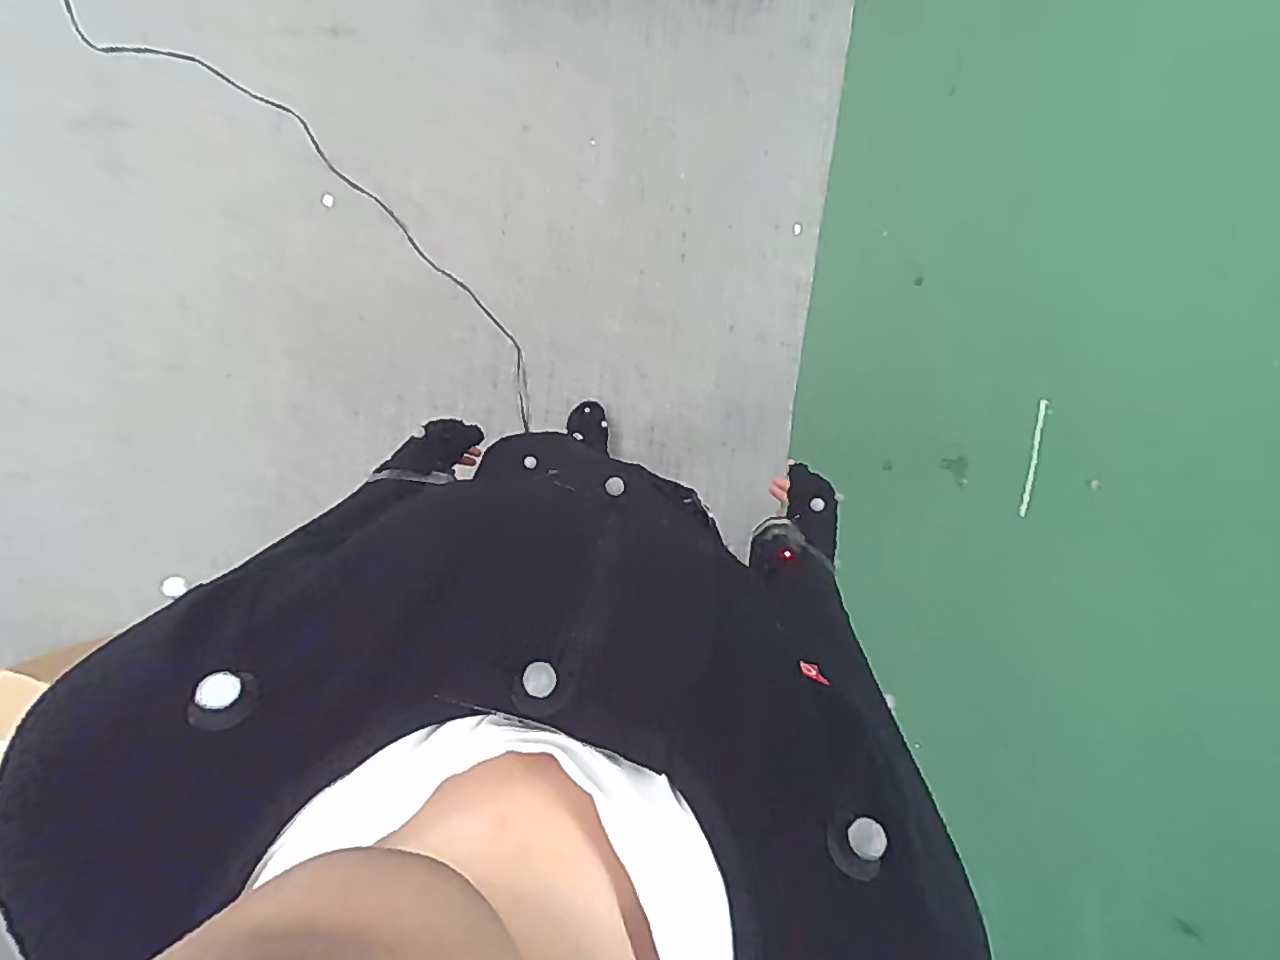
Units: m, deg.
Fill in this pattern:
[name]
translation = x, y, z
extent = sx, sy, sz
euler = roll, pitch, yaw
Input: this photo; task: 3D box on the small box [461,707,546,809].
[small box]
translation = -0.343, 0.693, 1.360
extent = 0.179, 0.176, 0.168
euler = 8, 92, 2
